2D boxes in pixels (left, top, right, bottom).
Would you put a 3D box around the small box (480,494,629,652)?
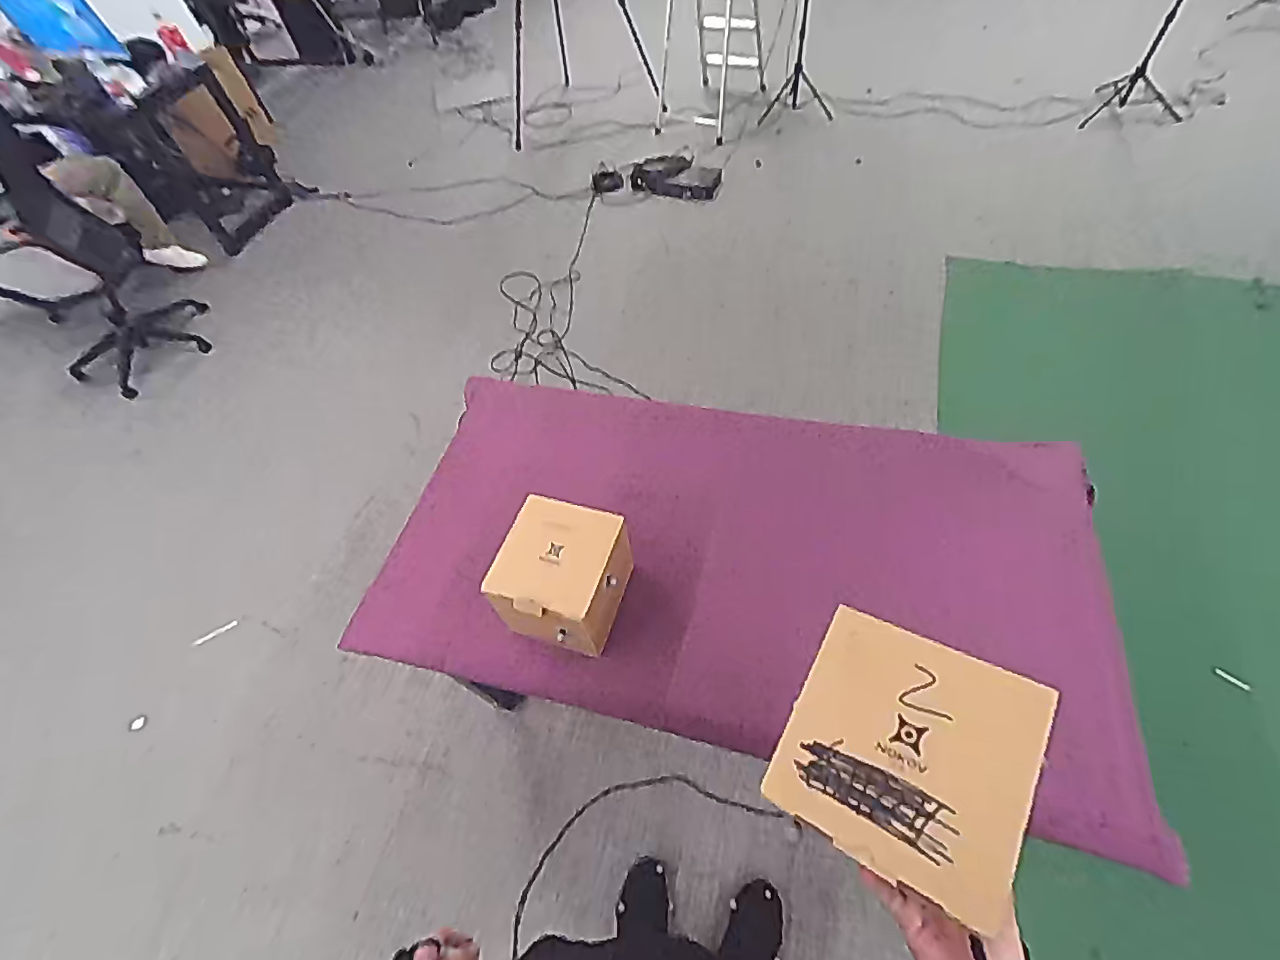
[{"bbox_3d":[-0.124,0.154,0.872,0.168,0.176,0.179,13,56,15],"label":"small box"}]
